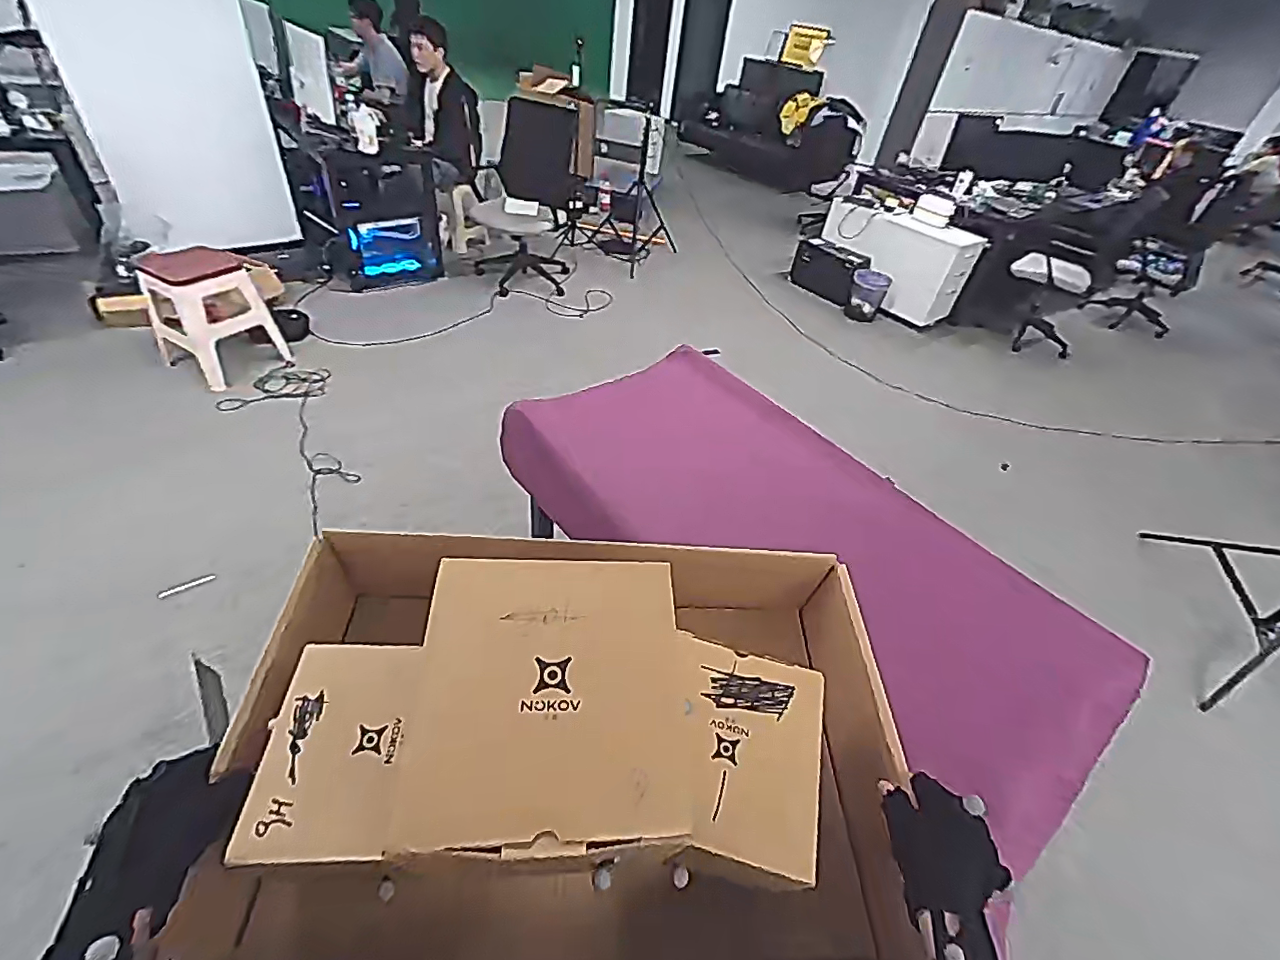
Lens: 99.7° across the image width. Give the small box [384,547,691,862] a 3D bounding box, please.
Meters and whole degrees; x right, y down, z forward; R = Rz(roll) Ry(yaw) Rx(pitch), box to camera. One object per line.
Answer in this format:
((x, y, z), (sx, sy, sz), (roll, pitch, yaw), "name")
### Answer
((-0.065, 0.168, 0.397), (0.168, 0.176, 0.179), (3, 49, -8), "small box")
